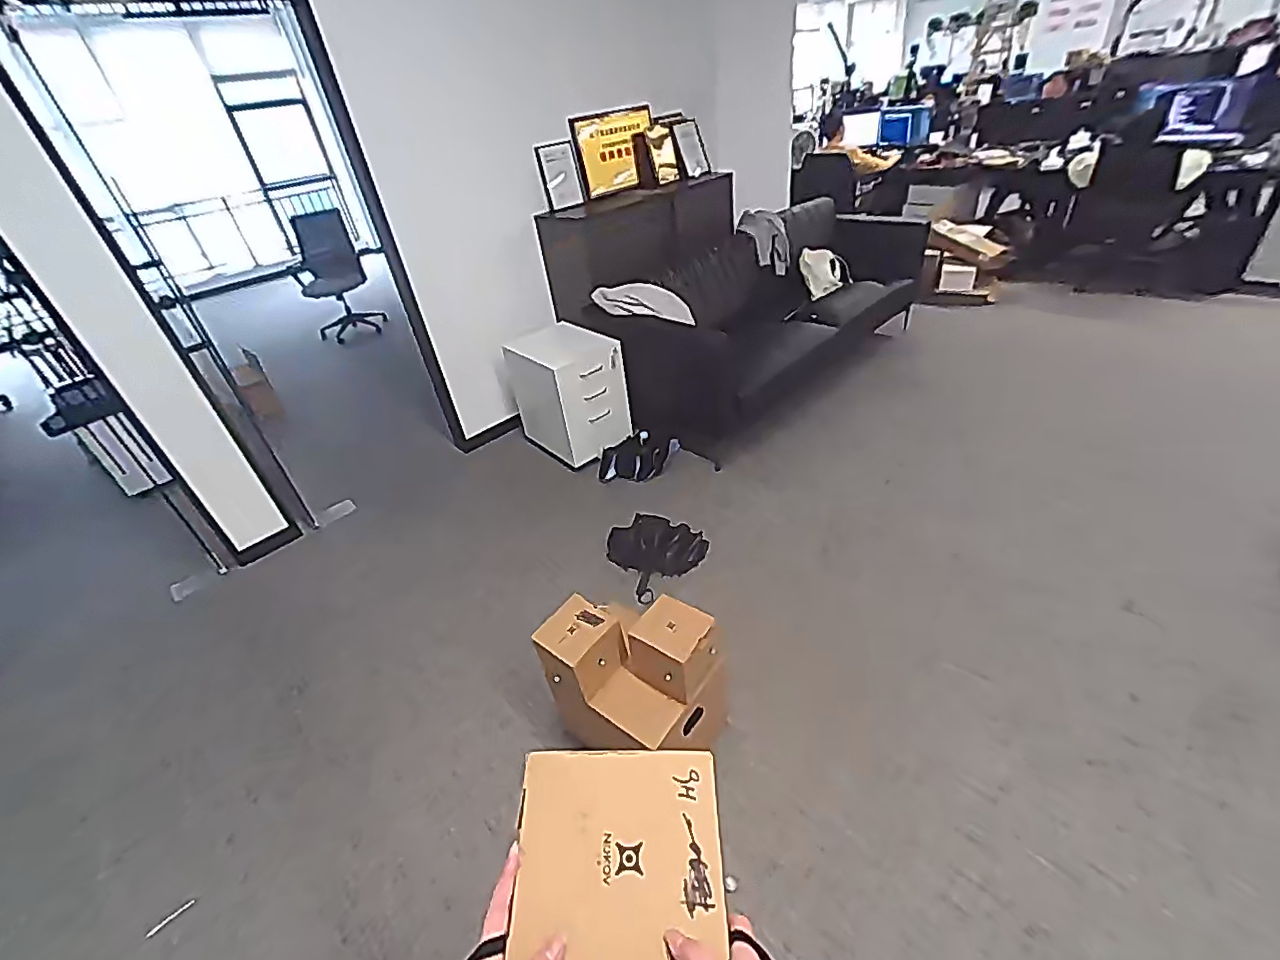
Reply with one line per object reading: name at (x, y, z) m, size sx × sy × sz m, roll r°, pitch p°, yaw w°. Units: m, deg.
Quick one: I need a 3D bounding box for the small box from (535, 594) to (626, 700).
small box at (-0.154, 0.453, 1.469) m, size 0.168 × 0.176 × 0.179 m, roll 22°, pitch 49°, yaw 36°

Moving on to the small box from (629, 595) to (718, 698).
small box at (0.094, 0.444, 1.430) m, size 0.179 × 0.176 × 0.168 m, roll 17°, pitch 39°, yaw 33°
